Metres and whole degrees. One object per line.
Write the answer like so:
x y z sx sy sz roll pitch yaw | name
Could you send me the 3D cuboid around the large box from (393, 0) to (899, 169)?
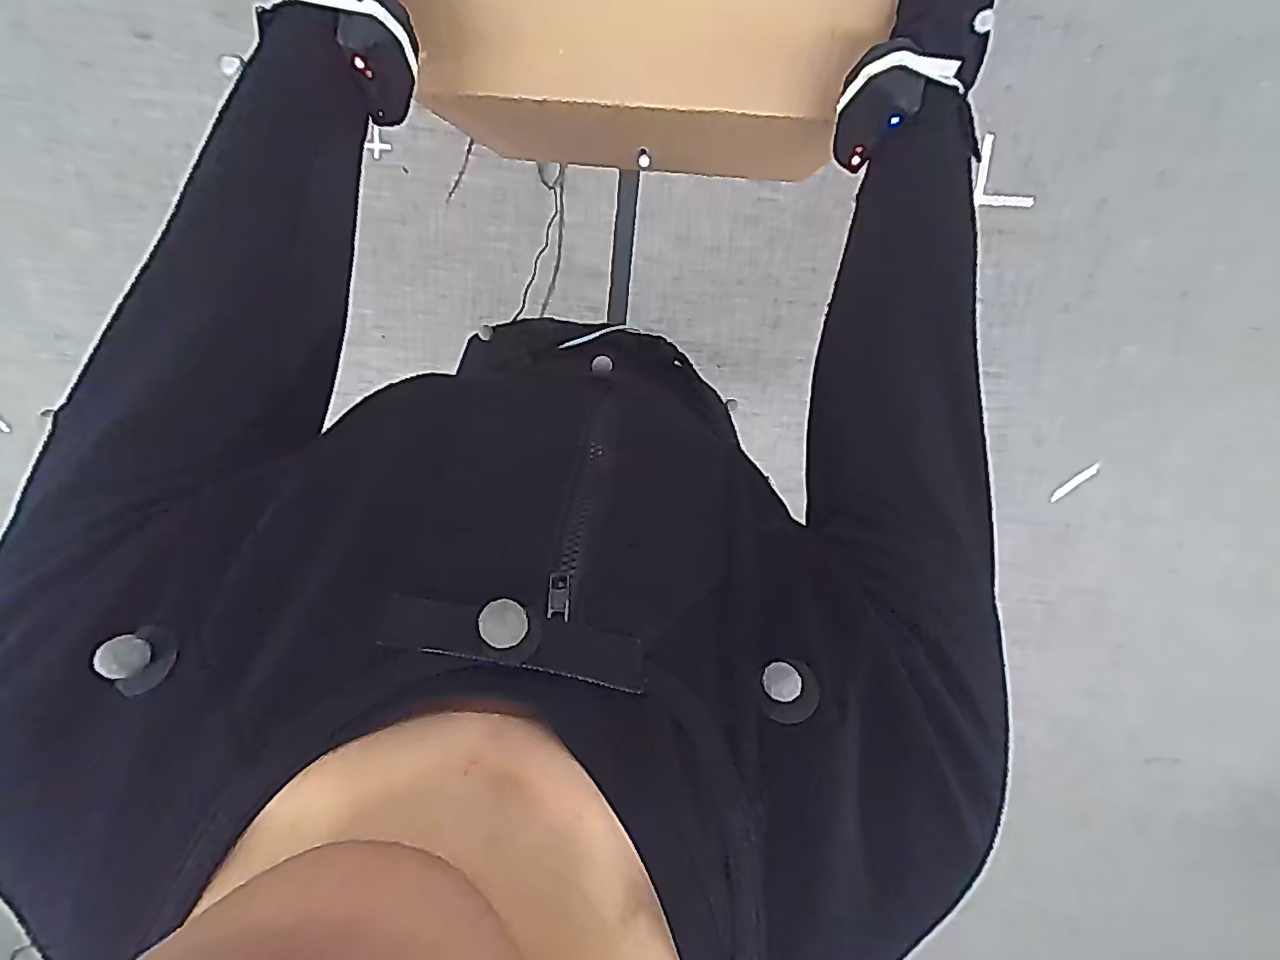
0.018 -0.511 0.528 0.408 0.320 0.320 6 111 2 | large box
